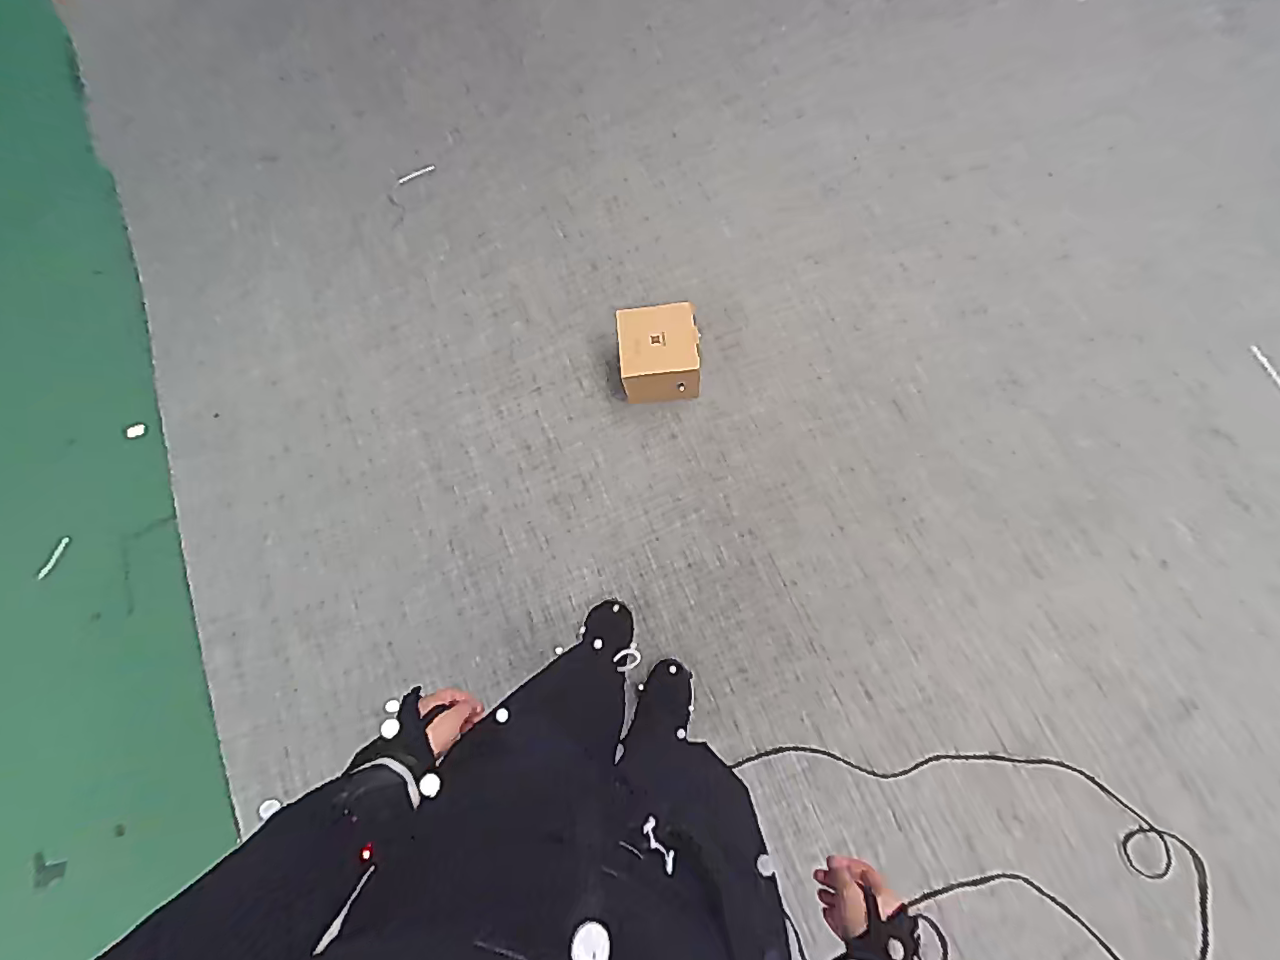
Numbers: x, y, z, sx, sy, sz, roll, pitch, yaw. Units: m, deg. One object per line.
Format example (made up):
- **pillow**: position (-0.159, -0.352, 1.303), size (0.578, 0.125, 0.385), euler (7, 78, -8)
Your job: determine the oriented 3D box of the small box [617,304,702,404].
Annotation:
- **small box**: position (0.048, -0.289, 1.271), size (0.179, 0.176, 0.168), euler (-7, 76, 5)
